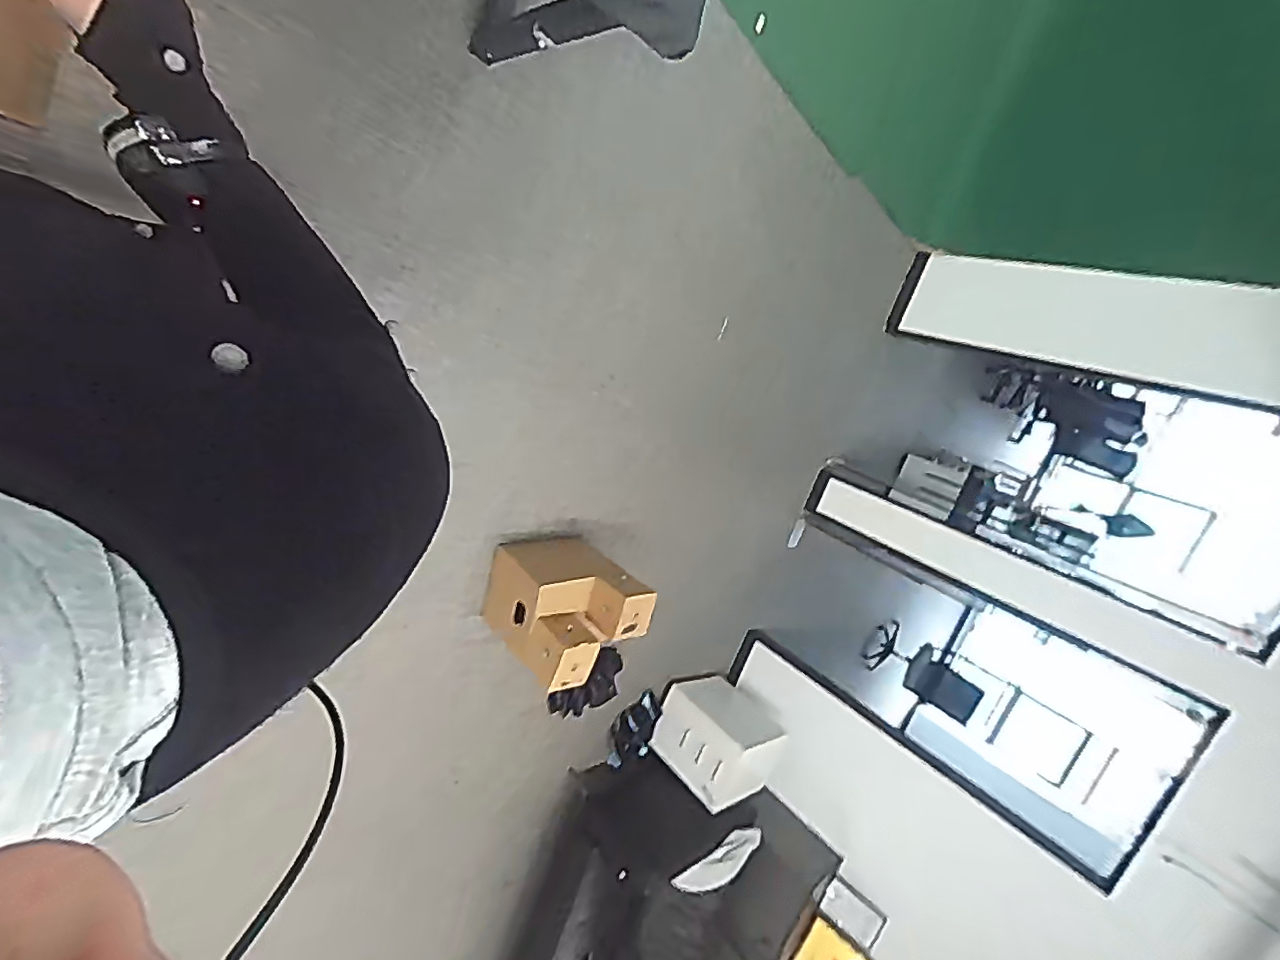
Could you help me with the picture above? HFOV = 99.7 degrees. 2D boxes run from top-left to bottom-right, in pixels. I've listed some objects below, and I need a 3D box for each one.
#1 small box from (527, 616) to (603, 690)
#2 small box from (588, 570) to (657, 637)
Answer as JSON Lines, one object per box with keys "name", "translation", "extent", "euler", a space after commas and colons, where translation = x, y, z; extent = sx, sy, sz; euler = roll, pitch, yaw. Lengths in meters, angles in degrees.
{"name": "small box", "translation": [-0.261, 0.581, 1.850], "extent": [0.168, 0.176, 0.179], "euler": [6, 108, -48]}
{"name": "small box", "translation": [-0.069, 0.447, 1.978], "extent": [0.168, 0.176, 0.179], "euler": [3, 106, -47]}
